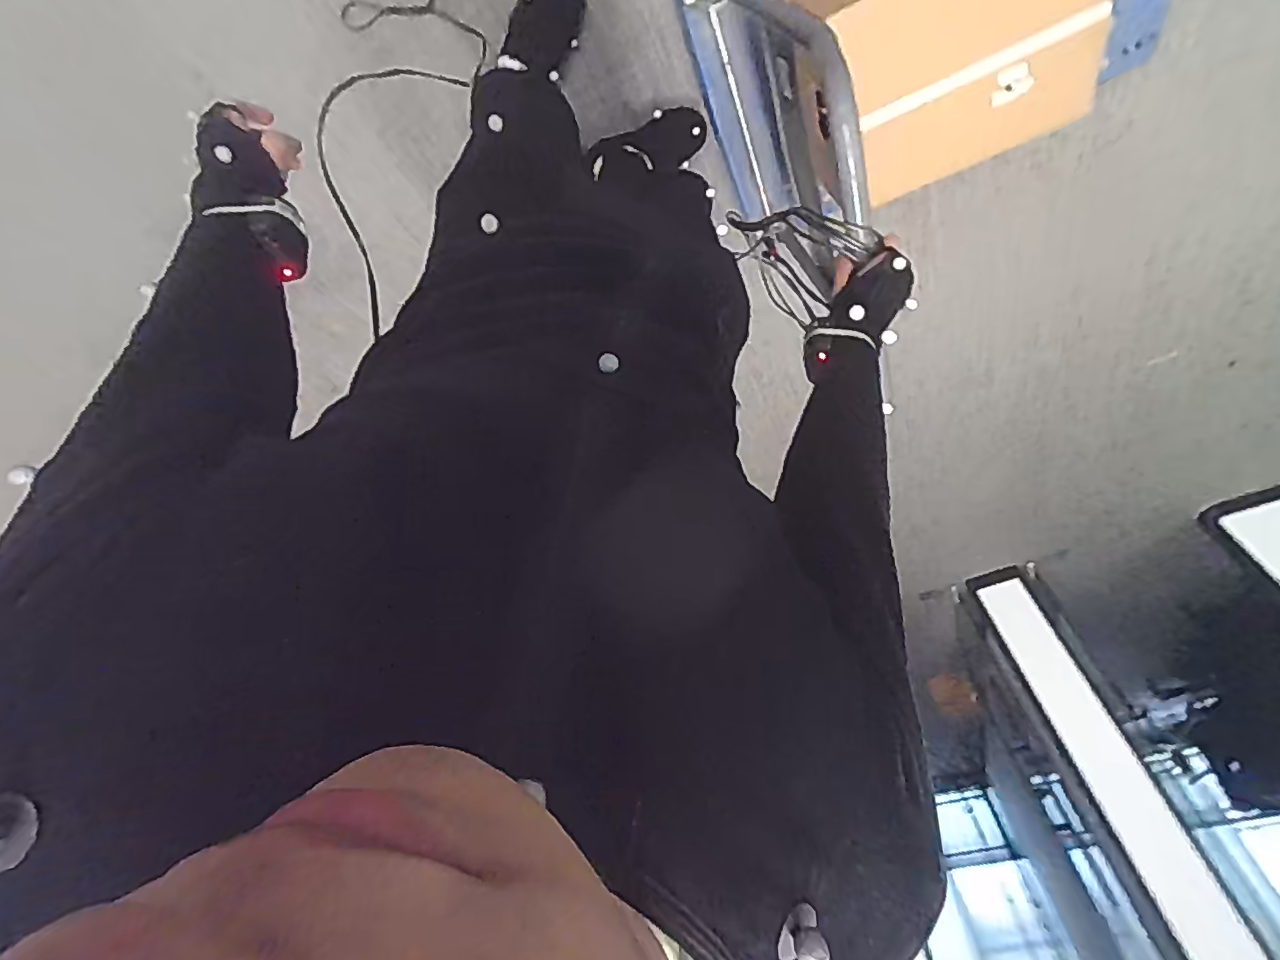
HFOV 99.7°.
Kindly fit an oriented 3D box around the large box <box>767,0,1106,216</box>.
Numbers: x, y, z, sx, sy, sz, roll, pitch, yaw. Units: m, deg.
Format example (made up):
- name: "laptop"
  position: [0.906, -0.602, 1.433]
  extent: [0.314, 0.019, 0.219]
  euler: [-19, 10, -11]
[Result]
- name: "large box"
  position: [0.480, -0.743, 0.930]
  extent: [0.408, 0.320, 0.320]
  euler: [-20, 139, 12]
